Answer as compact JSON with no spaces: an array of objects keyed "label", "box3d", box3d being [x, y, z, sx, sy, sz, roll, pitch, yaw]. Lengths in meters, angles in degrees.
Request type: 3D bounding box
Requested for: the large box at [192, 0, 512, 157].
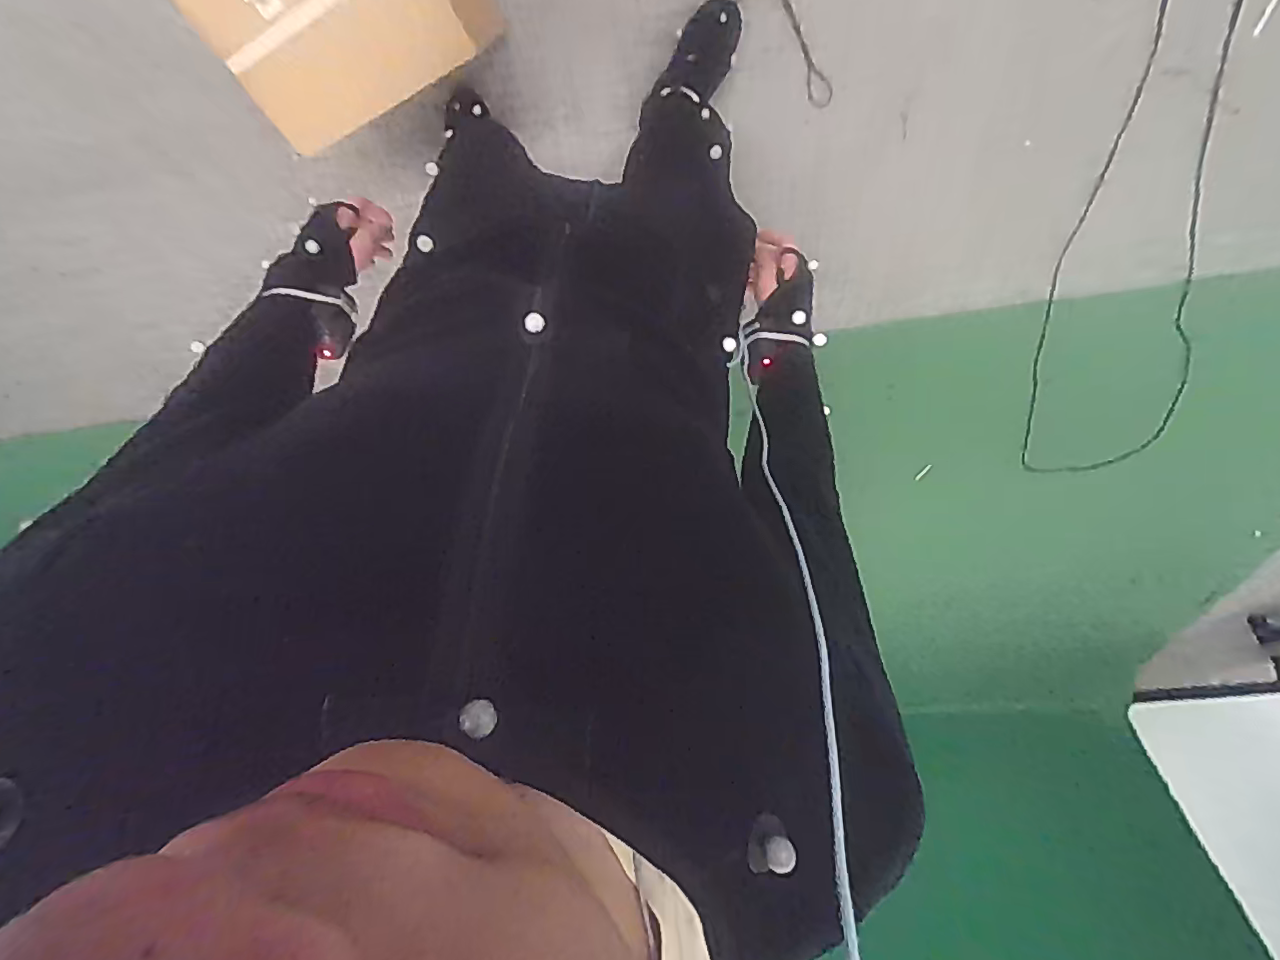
[{"label":"large box","box3d":[-0.503,-0.880,0.980,0.408,0.320,0.320,-16,133,18]}]
